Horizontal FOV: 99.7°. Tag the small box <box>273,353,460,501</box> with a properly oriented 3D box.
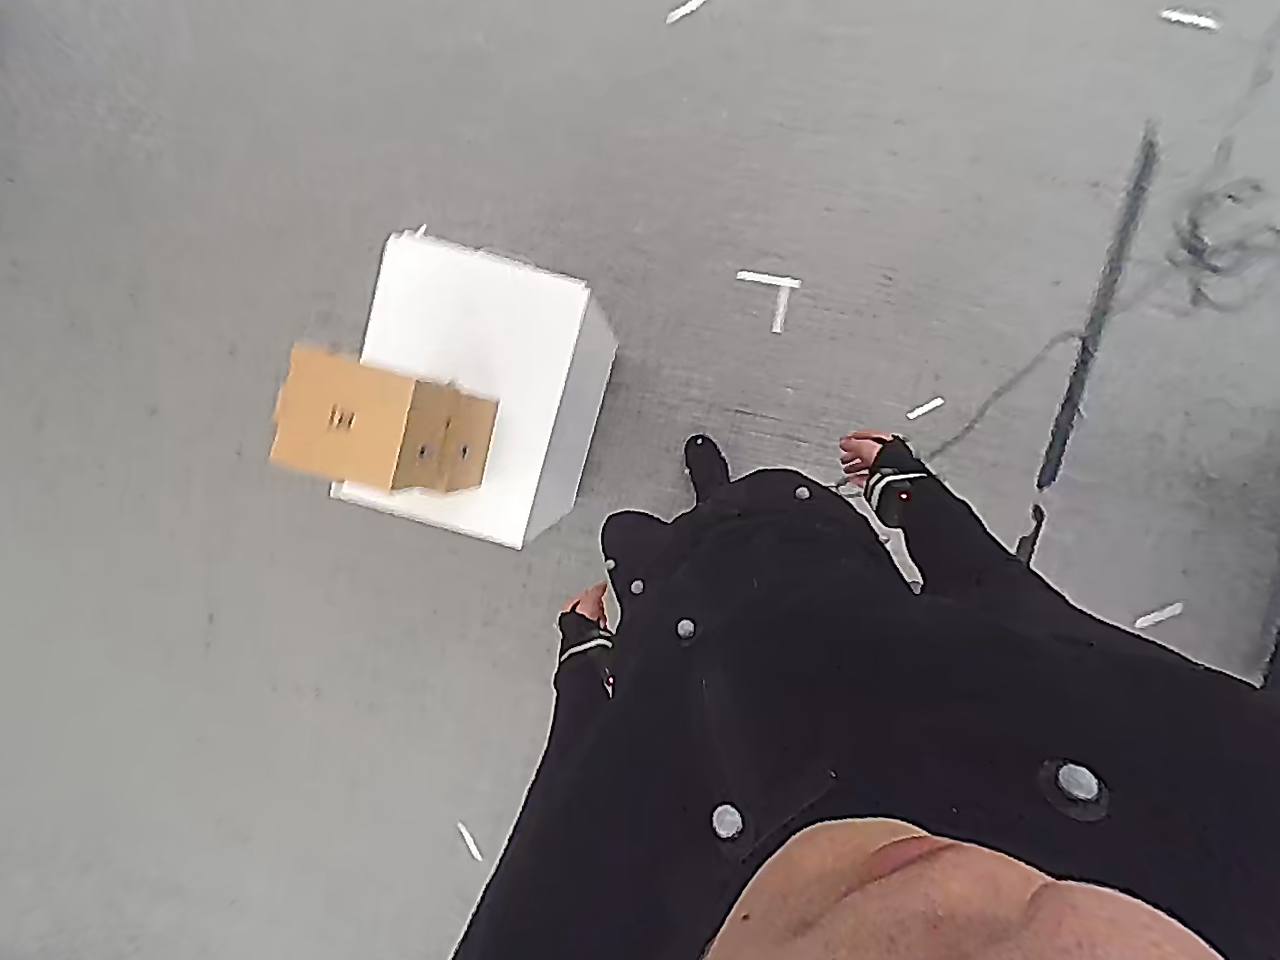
[{"bbox_3d":[-0.390,-0.077,0.801,0.179,0.176,0.168,14,94,3],"label":"small box"}]

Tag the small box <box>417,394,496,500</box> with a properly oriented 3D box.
[{"bbox_3d":[-0.371,-0.073,0.963,0.168,0.176,0.179,13,93,2],"label":"small box"}]
